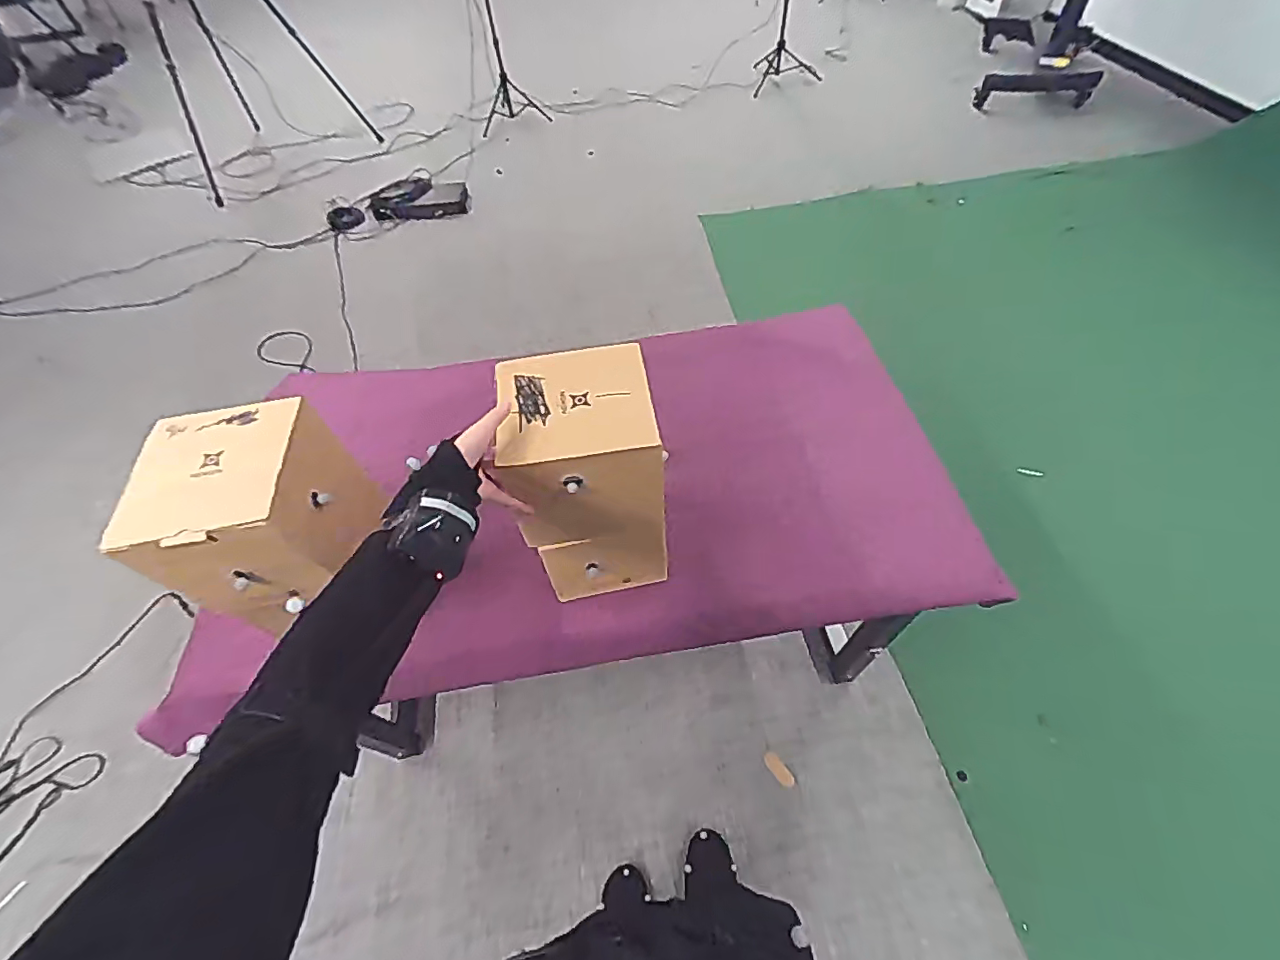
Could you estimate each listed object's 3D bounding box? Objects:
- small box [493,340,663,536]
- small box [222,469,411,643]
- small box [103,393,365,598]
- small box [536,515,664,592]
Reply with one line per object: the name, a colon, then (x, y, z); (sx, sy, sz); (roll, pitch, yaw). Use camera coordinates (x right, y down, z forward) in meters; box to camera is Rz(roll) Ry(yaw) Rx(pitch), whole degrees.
small box: (-0.070, -0.045, 0.666); (0.179, 0.176, 0.168); (-8, 53, -3)
small box: (-0.445, 0.112, 0.779); (0.168, 0.176, 0.179); (-11, 56, -4)
small box: (-0.450, 0.027, 0.639); (0.168, 0.176, 0.179); (-9, 55, -3)
small box: (-0.061, 0.050, 0.800); (0.168, 0.176, 0.179); (-11, 53, -4)
